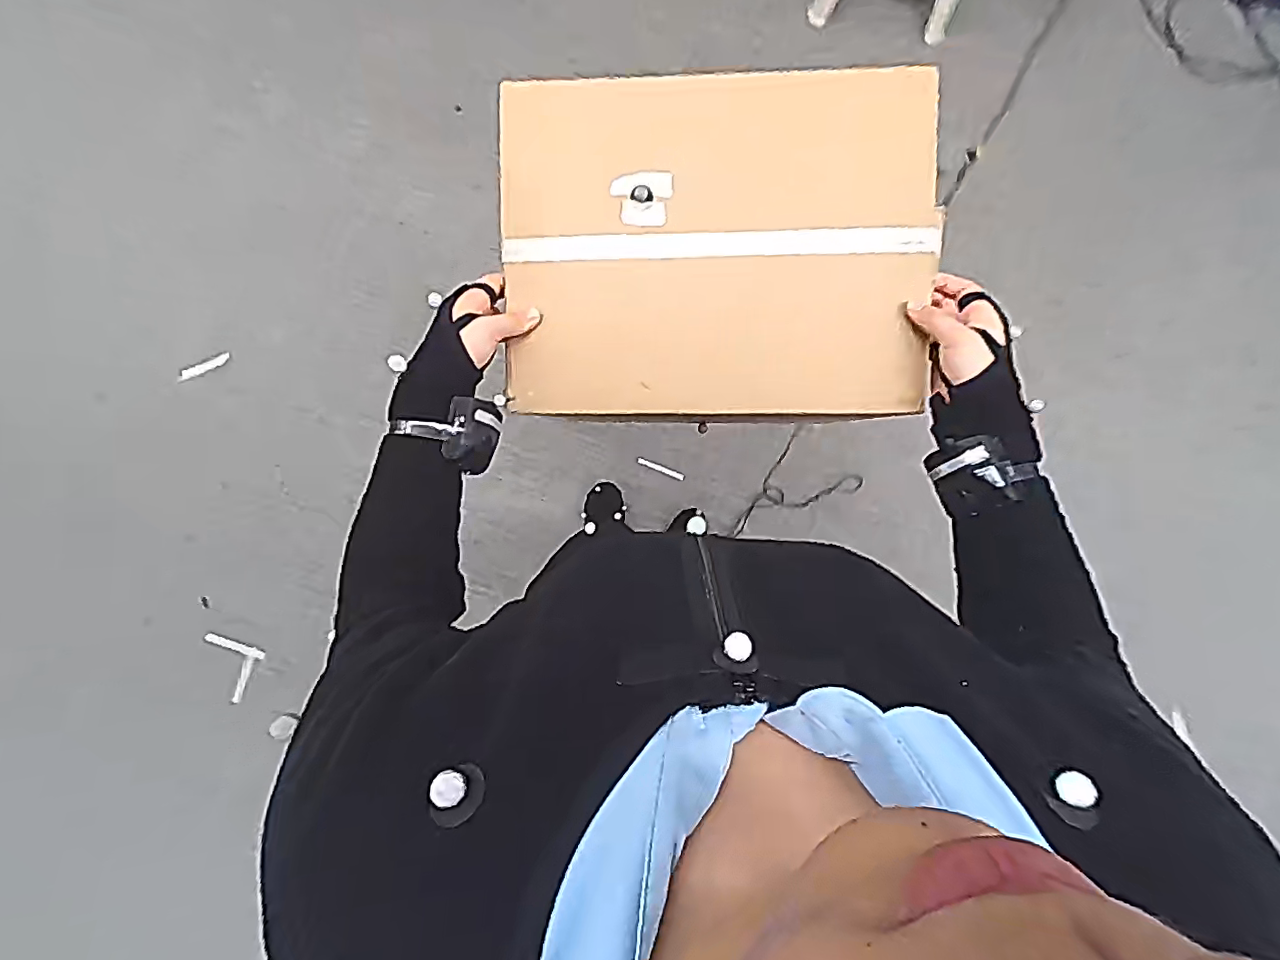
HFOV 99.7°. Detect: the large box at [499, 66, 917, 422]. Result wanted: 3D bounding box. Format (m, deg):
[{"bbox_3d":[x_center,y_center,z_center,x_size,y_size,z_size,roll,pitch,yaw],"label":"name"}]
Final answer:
[{"bbox_3d":[0.076,-0.235,0.672,0.408,0.320,0.320,-1,93,5],"label":"large box"}]
